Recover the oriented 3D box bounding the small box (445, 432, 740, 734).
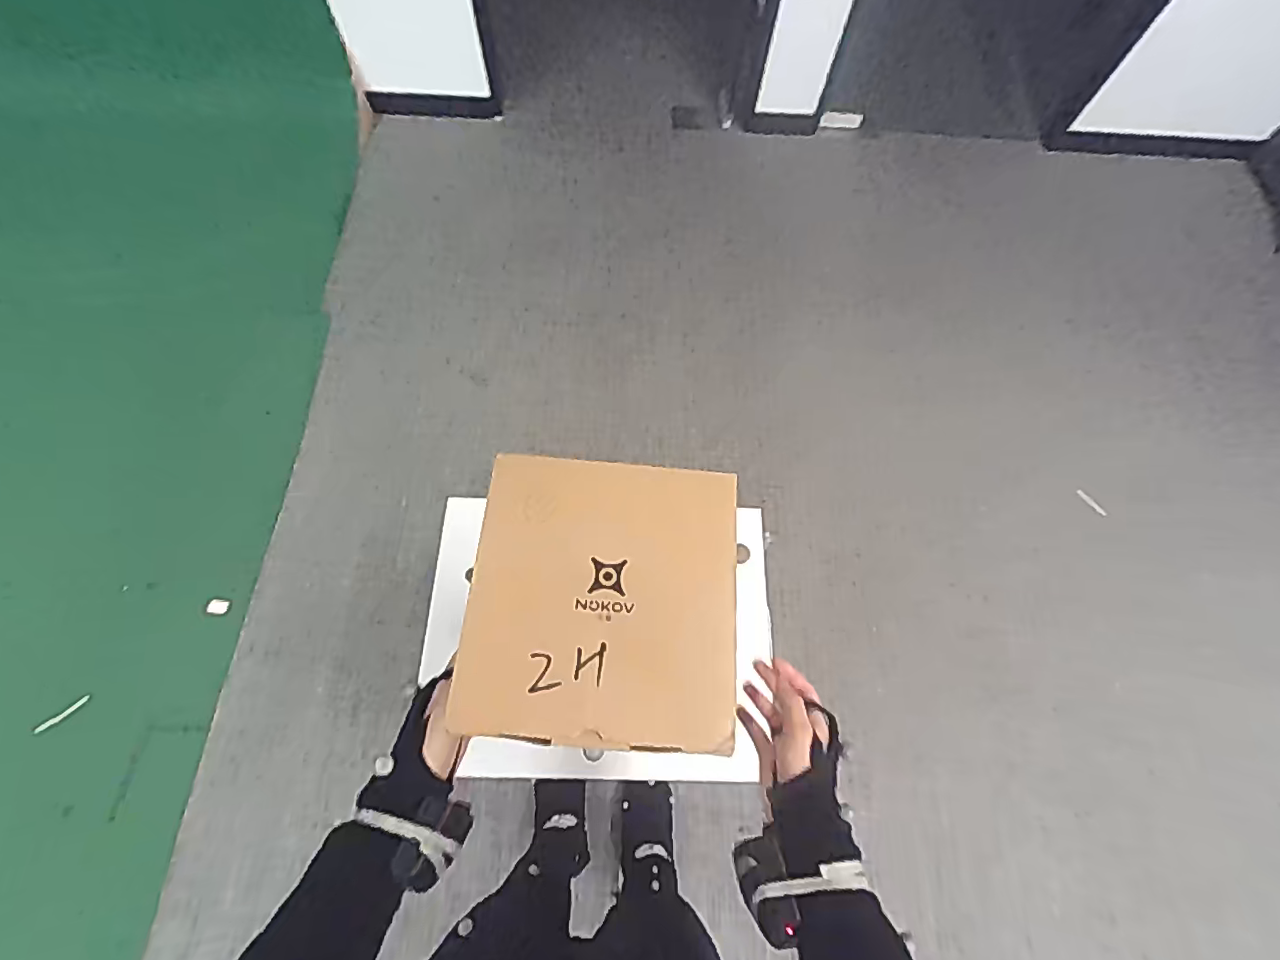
[{"bbox_3d":[-0.024,0.085,0.404,0.168,0.176,0.179,5,67,0],"label":"small box"}]
